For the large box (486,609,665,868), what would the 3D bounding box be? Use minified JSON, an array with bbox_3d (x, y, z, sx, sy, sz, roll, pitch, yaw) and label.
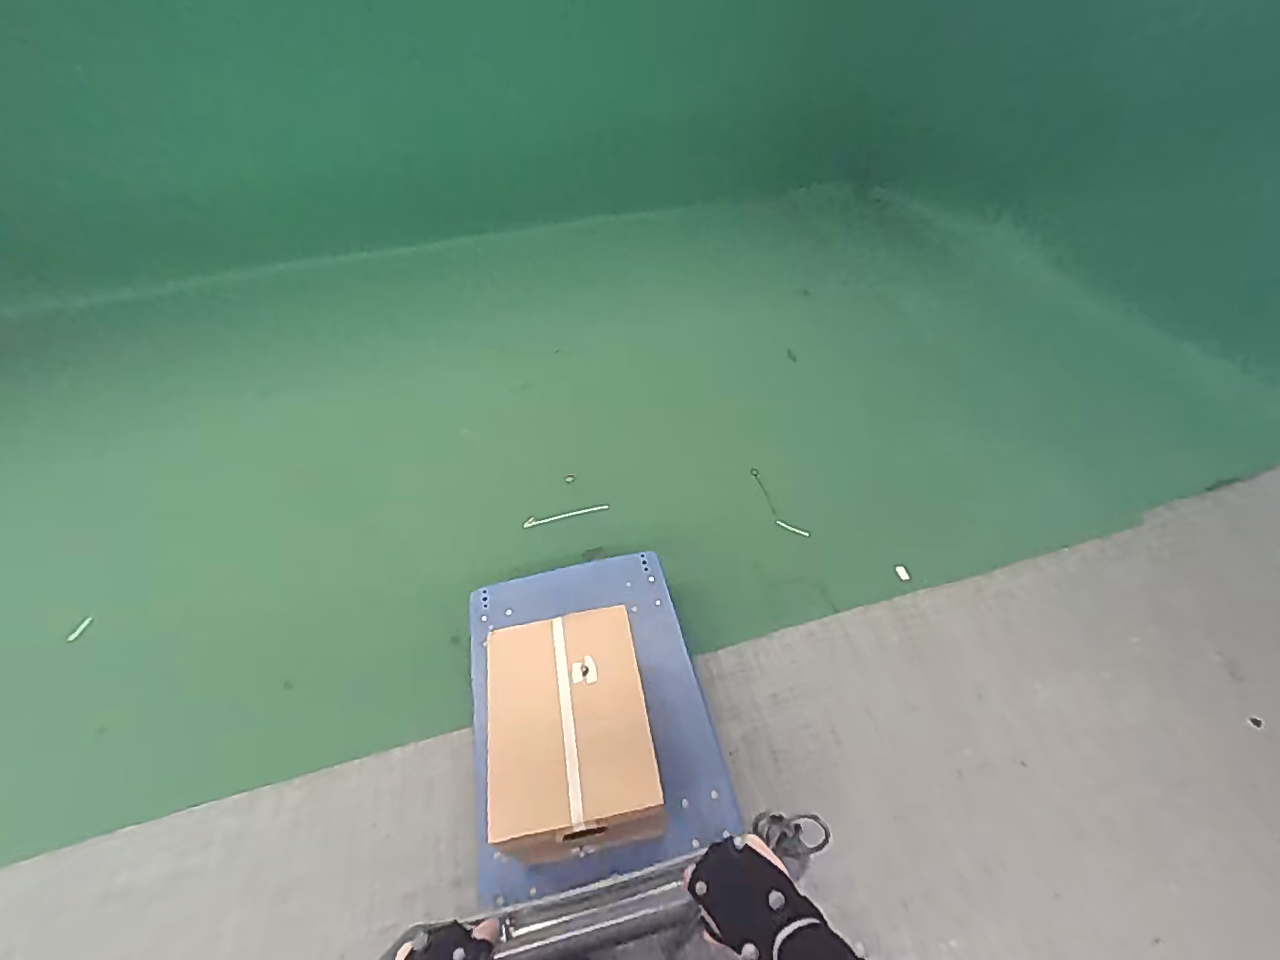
[{"bbox_3d":[-0.140,0.560,1.184,0.320,0.320,0.408,-10,48,-6],"label":"large box"}]
